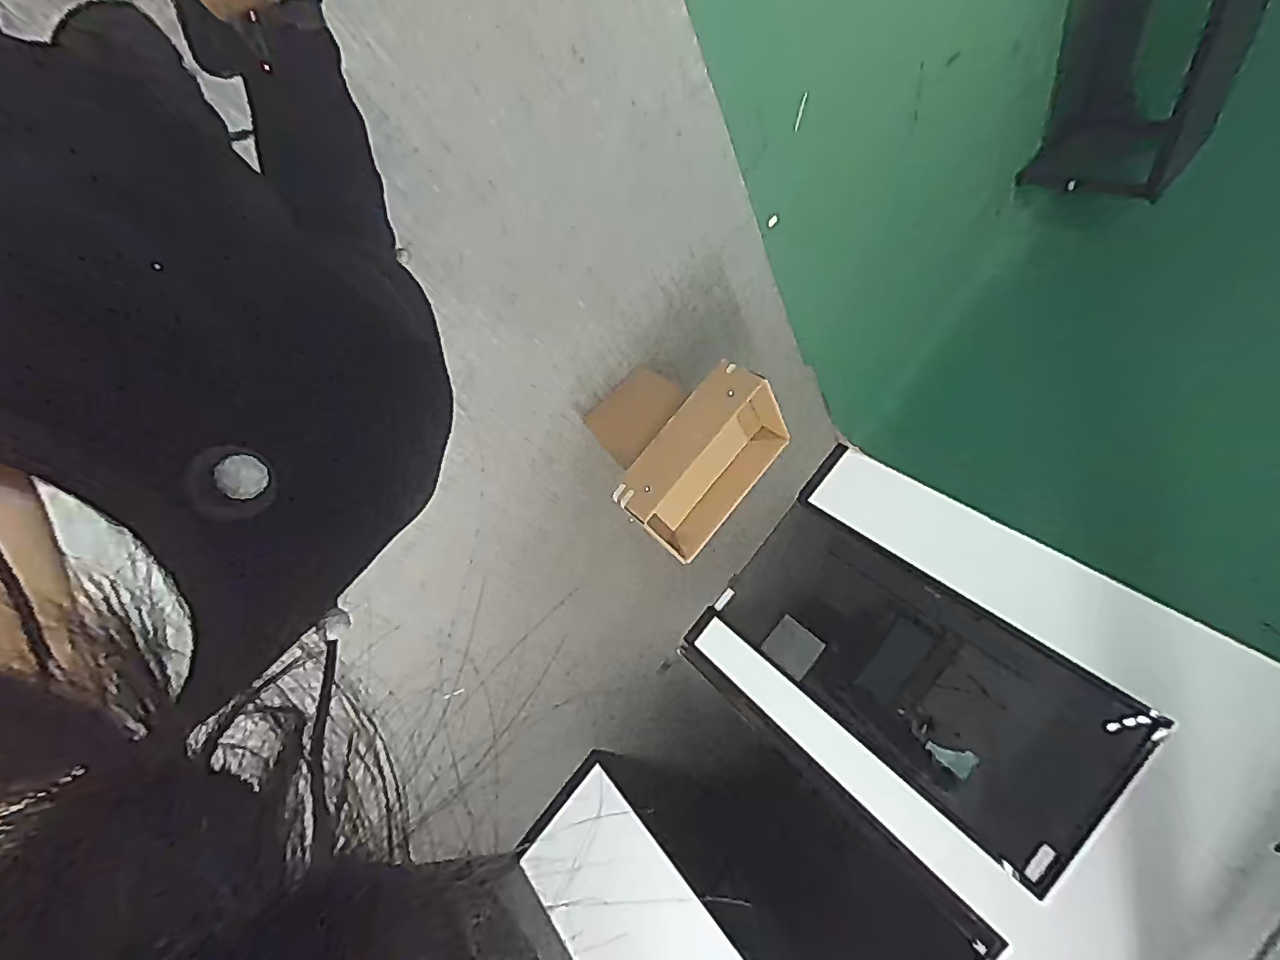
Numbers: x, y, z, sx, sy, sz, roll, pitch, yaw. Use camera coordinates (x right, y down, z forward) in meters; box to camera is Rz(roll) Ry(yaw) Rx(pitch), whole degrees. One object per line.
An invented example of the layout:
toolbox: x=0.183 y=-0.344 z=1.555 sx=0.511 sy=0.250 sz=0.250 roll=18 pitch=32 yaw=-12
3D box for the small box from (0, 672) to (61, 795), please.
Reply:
small box: x=-1.324 y=0.515 z=1.082 sx=0.168 sy=0.176 sz=0.179 roll=-39 pitch=139 yaw=-17
